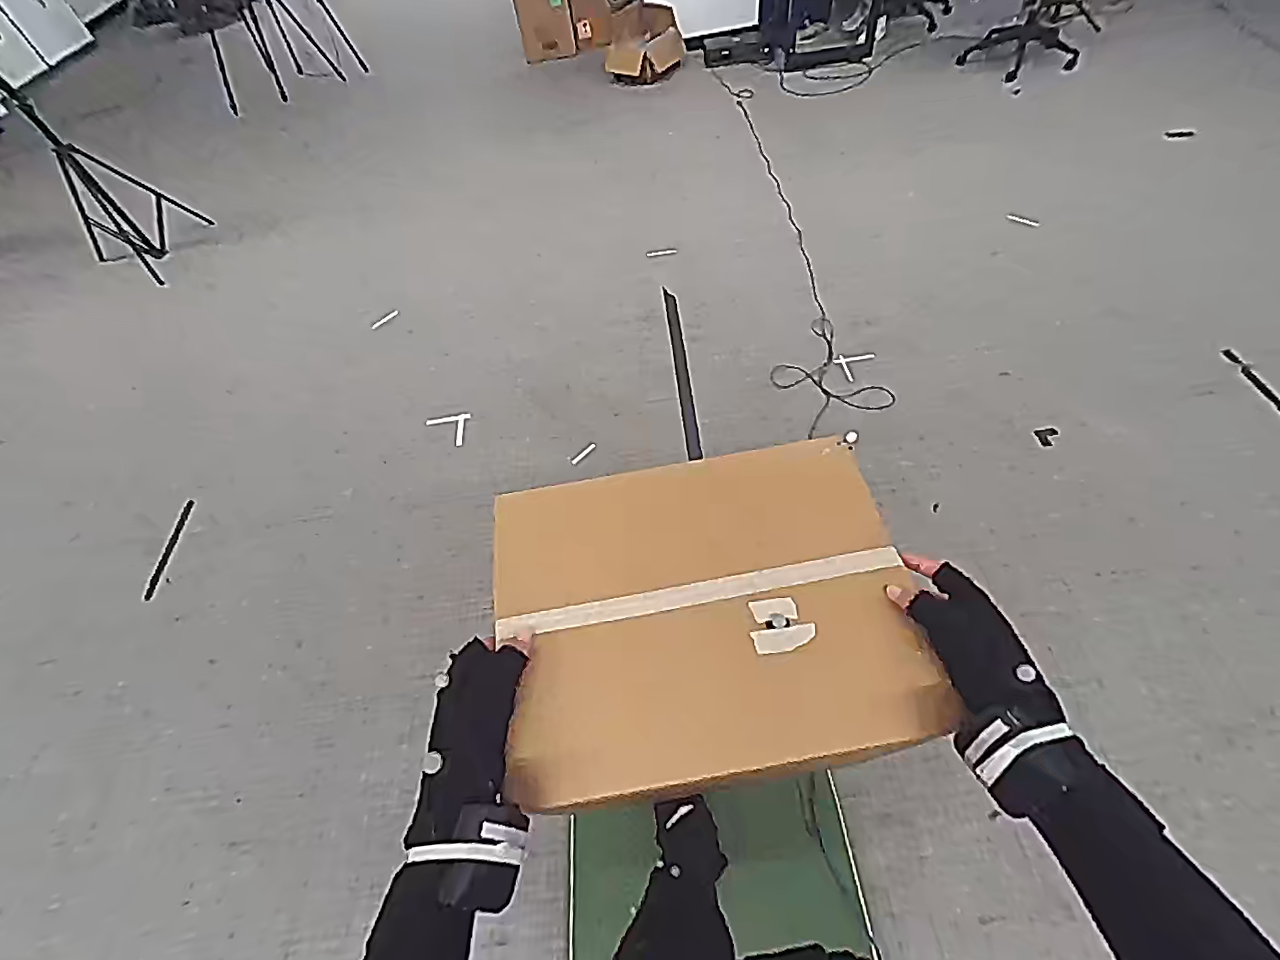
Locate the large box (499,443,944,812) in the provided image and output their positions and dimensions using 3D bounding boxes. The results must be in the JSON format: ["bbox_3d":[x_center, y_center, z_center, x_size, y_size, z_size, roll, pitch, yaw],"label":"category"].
[{"bbox_3d":[0.065,0.198,0.682,0.408,0.320,0.320,-10,58,-2],"label":"large box"}]
